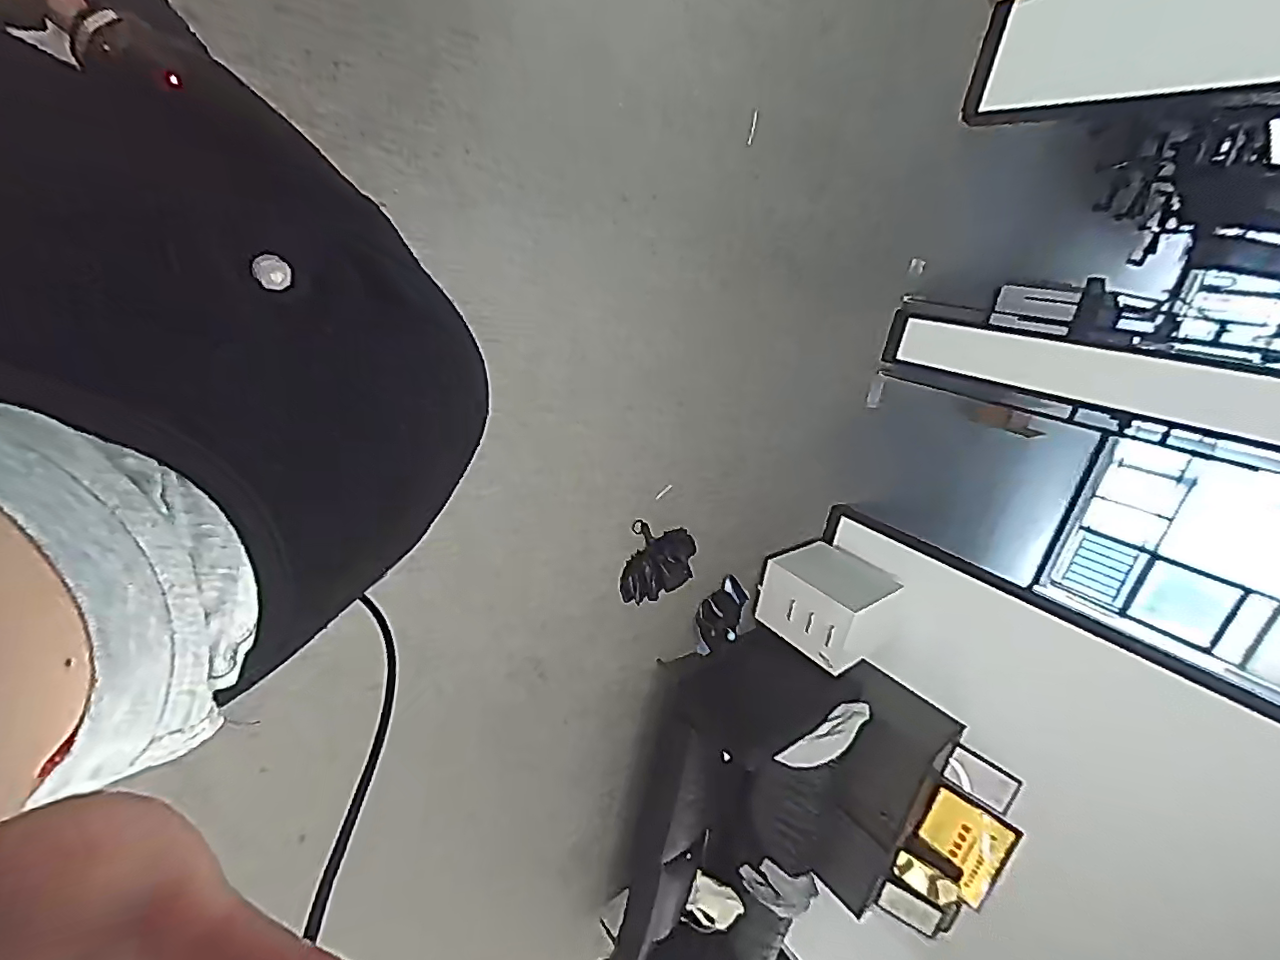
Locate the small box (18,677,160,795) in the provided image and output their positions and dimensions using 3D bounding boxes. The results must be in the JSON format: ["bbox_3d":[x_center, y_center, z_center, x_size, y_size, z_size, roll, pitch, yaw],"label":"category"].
[{"bbox_3d":[-1.305,0.606,1.292,0.179,0.176,0.168,-49,135,-10],"label":"small box"}]
